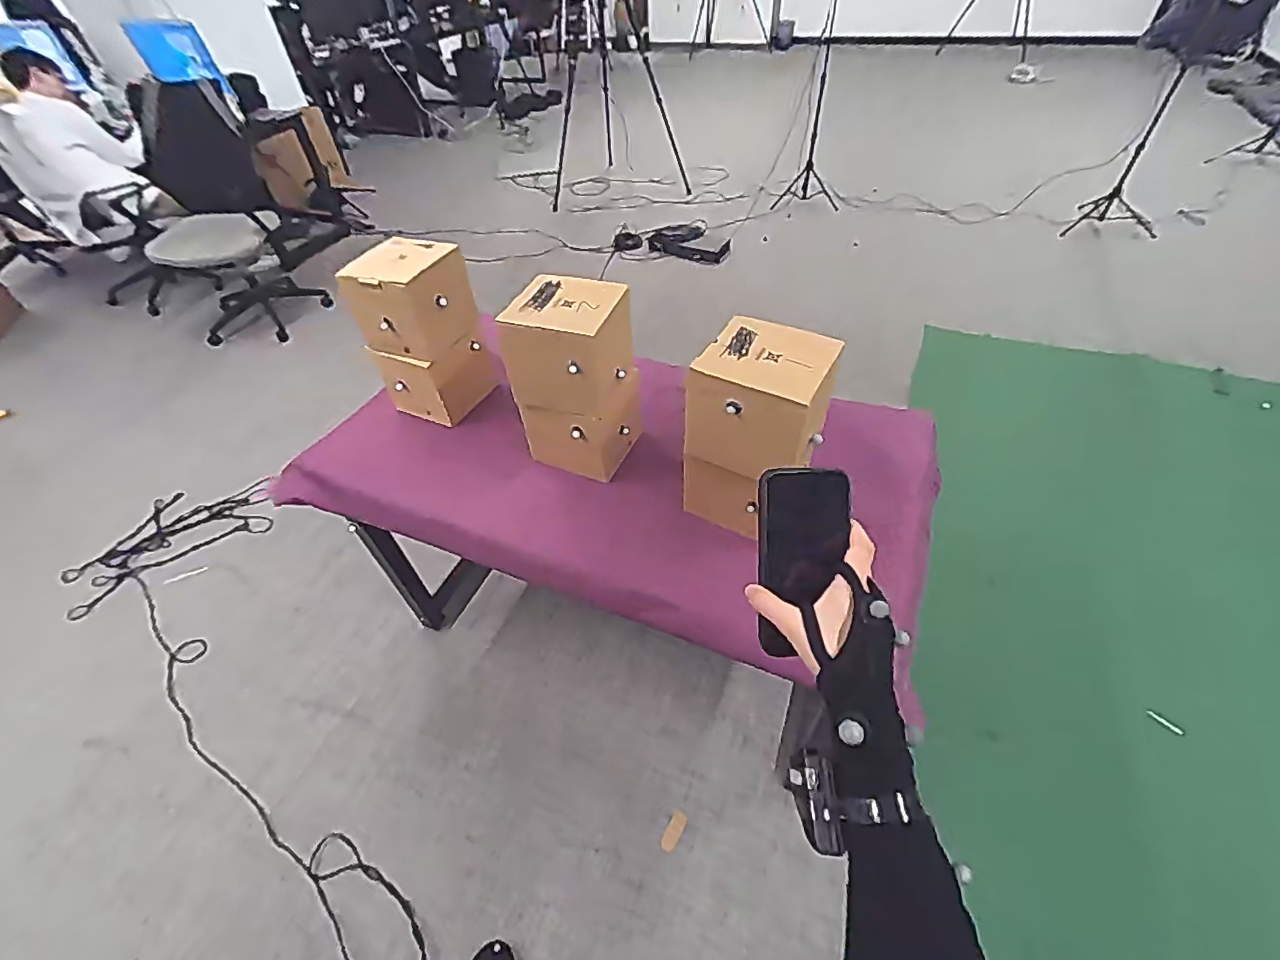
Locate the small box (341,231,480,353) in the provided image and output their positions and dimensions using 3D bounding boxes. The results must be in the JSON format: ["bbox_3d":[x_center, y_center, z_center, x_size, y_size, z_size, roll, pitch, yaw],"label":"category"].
[{"bbox_3d":[-0.453,-0.381,1.103,0.168,0.176,0.179,15,51,16],"label":"small box"}]

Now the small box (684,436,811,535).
[{"bbox_3d":[0.193,-0.028,0.956,0.179,0.176,0.168,23,53,24],"label":"small box"}]

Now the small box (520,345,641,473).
[{"bbox_3d":[-0.107,-0.137,1.076,0.179,0.176,0.168,18,51,19],"label":"small box"}]

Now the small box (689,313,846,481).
[{"bbox_3d":[0.185,-0.125,0.824,0.179,0.176,0.168,23,53,22],"label":"small box"}]

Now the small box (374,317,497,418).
[{"bbox_3d":[-0.448,-0.265,1.218,0.168,0.176,0.179,19,51,20],"label":"small box"}]
